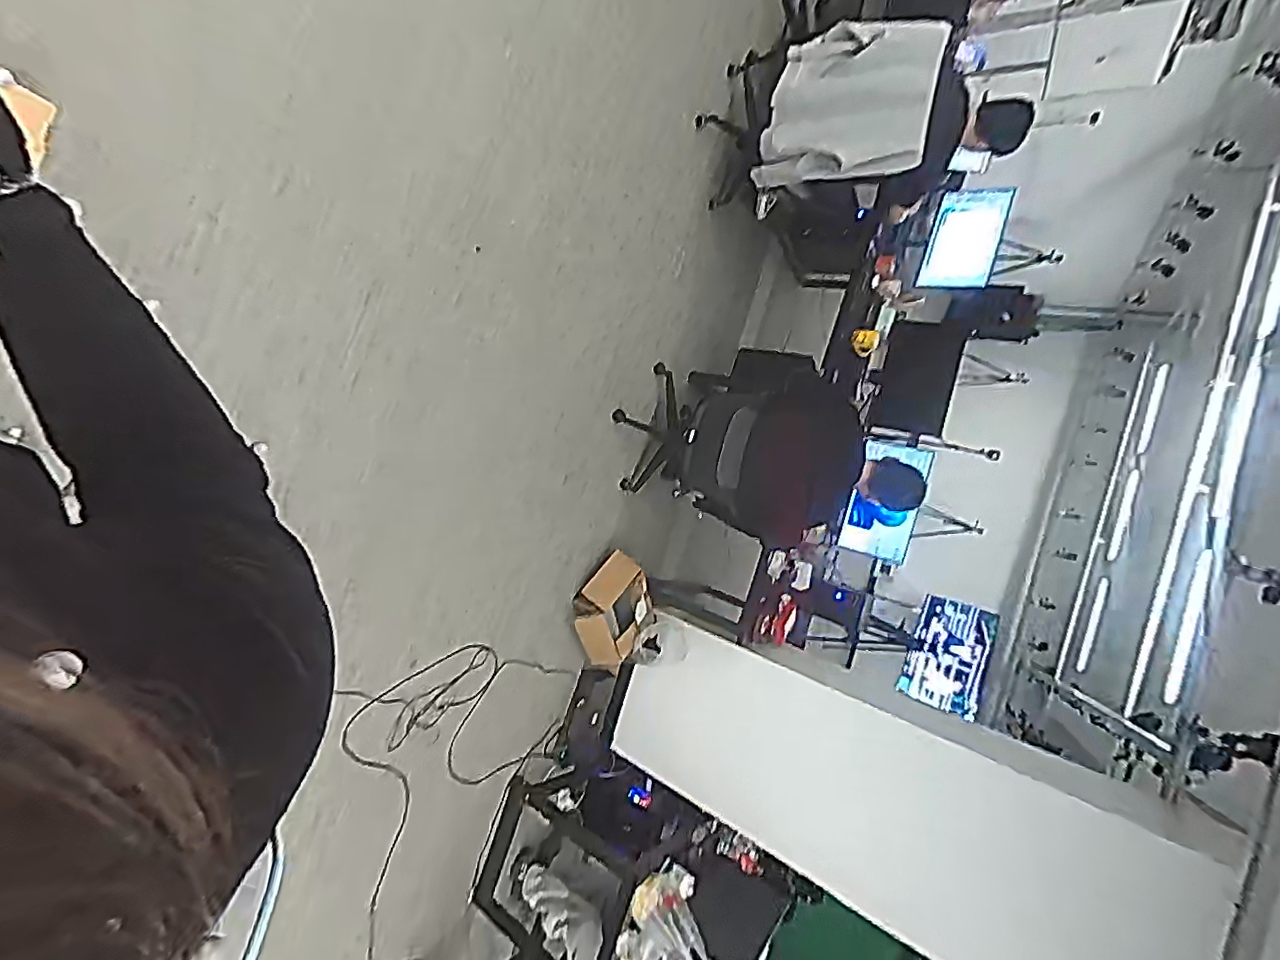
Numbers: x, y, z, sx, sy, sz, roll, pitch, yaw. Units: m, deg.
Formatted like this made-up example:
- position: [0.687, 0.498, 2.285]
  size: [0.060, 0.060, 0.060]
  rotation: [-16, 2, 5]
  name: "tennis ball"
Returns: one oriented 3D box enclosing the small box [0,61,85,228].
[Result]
- position: [-1.000, -0.517, 0.814]
  size: [0.168, 0.176, 0.179]
  rotation: [29, 59, -75]
  name: "small box"
